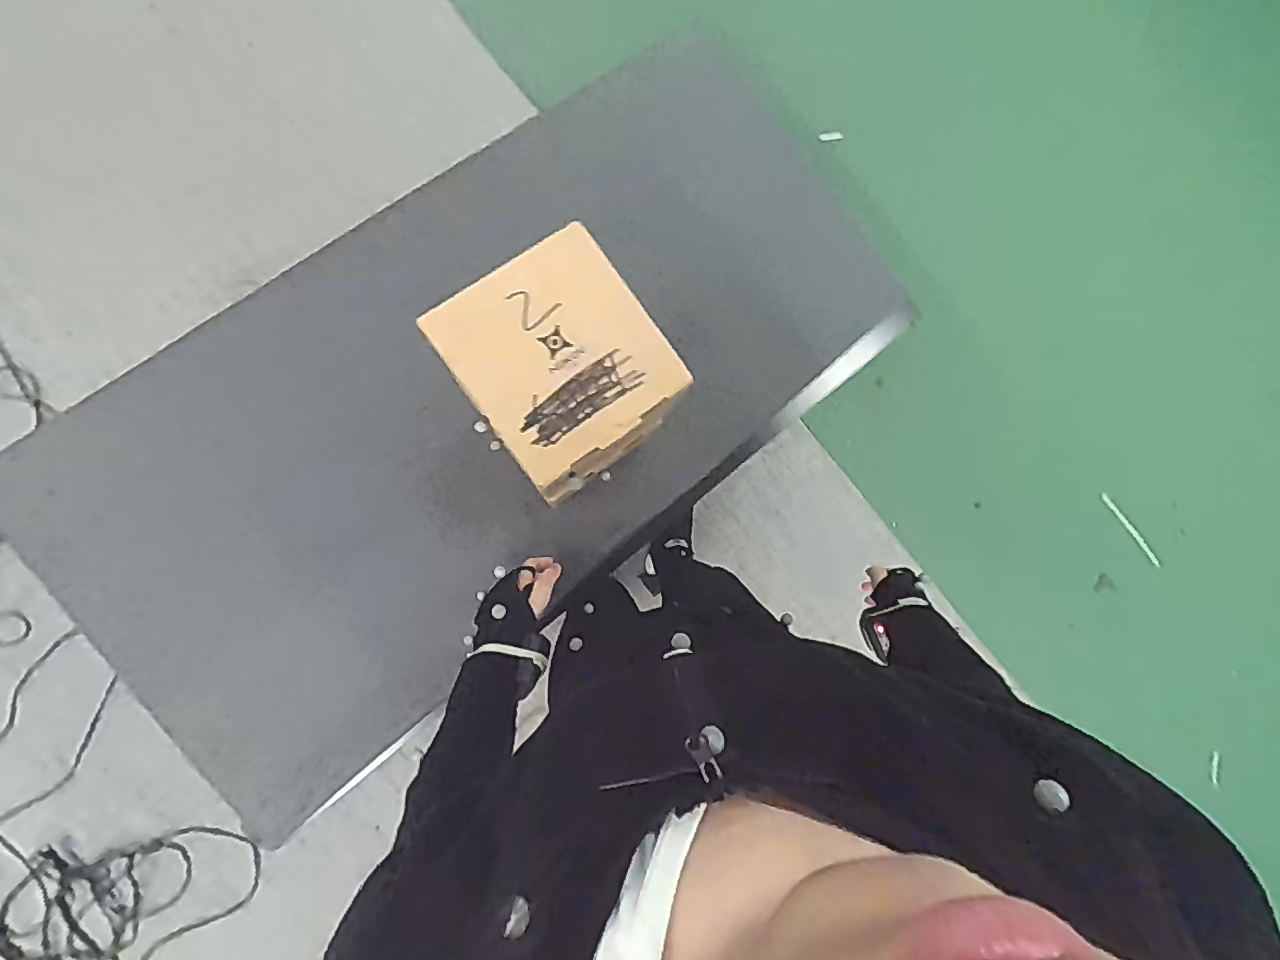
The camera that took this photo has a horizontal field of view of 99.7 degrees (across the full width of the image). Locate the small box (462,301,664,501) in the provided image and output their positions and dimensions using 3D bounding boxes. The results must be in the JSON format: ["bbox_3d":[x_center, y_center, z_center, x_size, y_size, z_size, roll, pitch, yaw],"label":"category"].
[{"bbox_3d":[-0.097,-0.086,0.693,0.168,0.176,0.179,-38,91,-9],"label":"small box"}]
